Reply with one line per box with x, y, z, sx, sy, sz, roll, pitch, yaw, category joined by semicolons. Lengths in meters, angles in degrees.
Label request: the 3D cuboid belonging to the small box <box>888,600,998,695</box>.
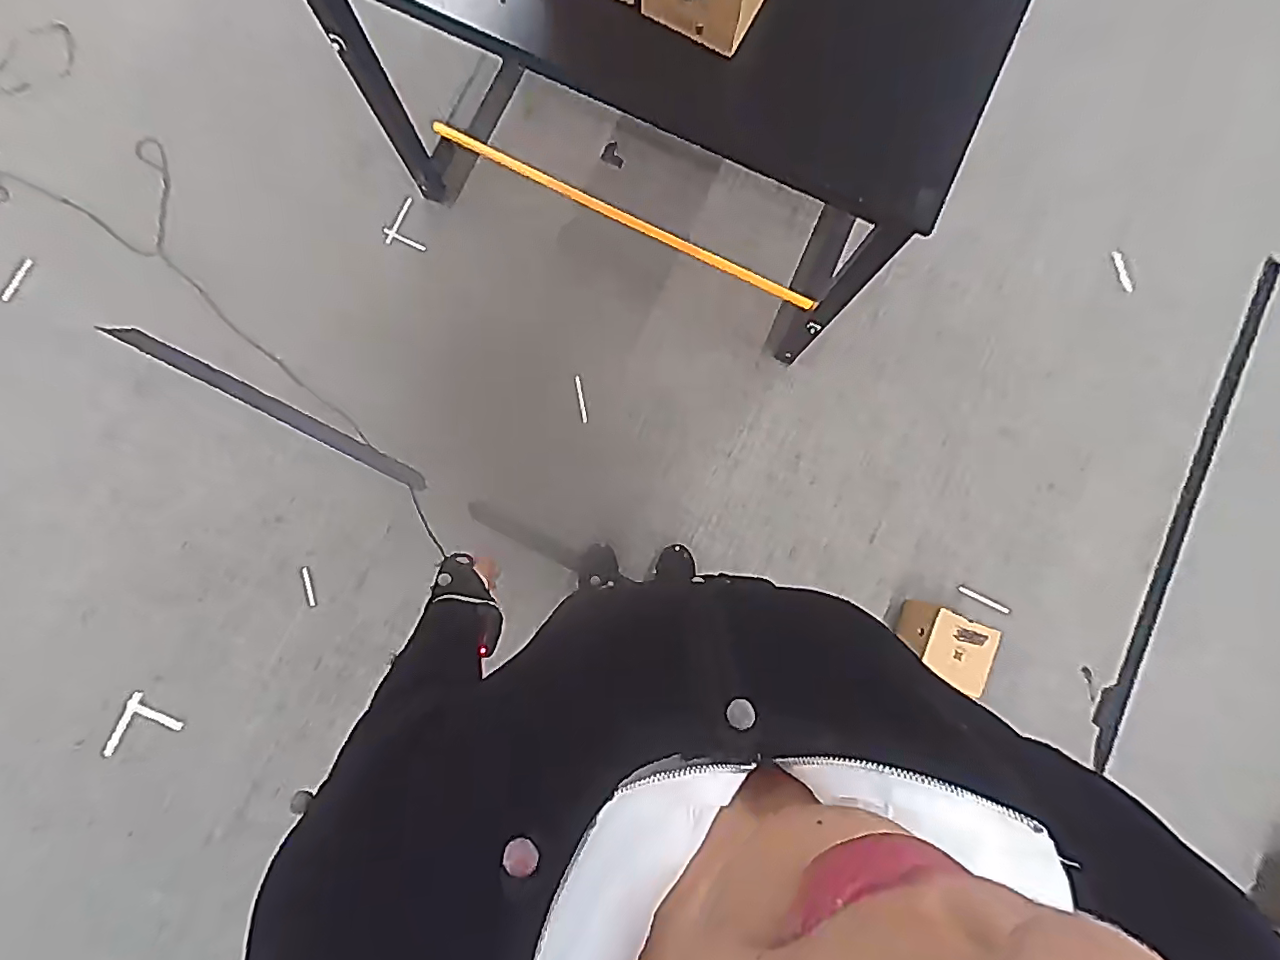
0.787;0.429;1.423;0.168;0.176;0.179;22;85;1;small box
